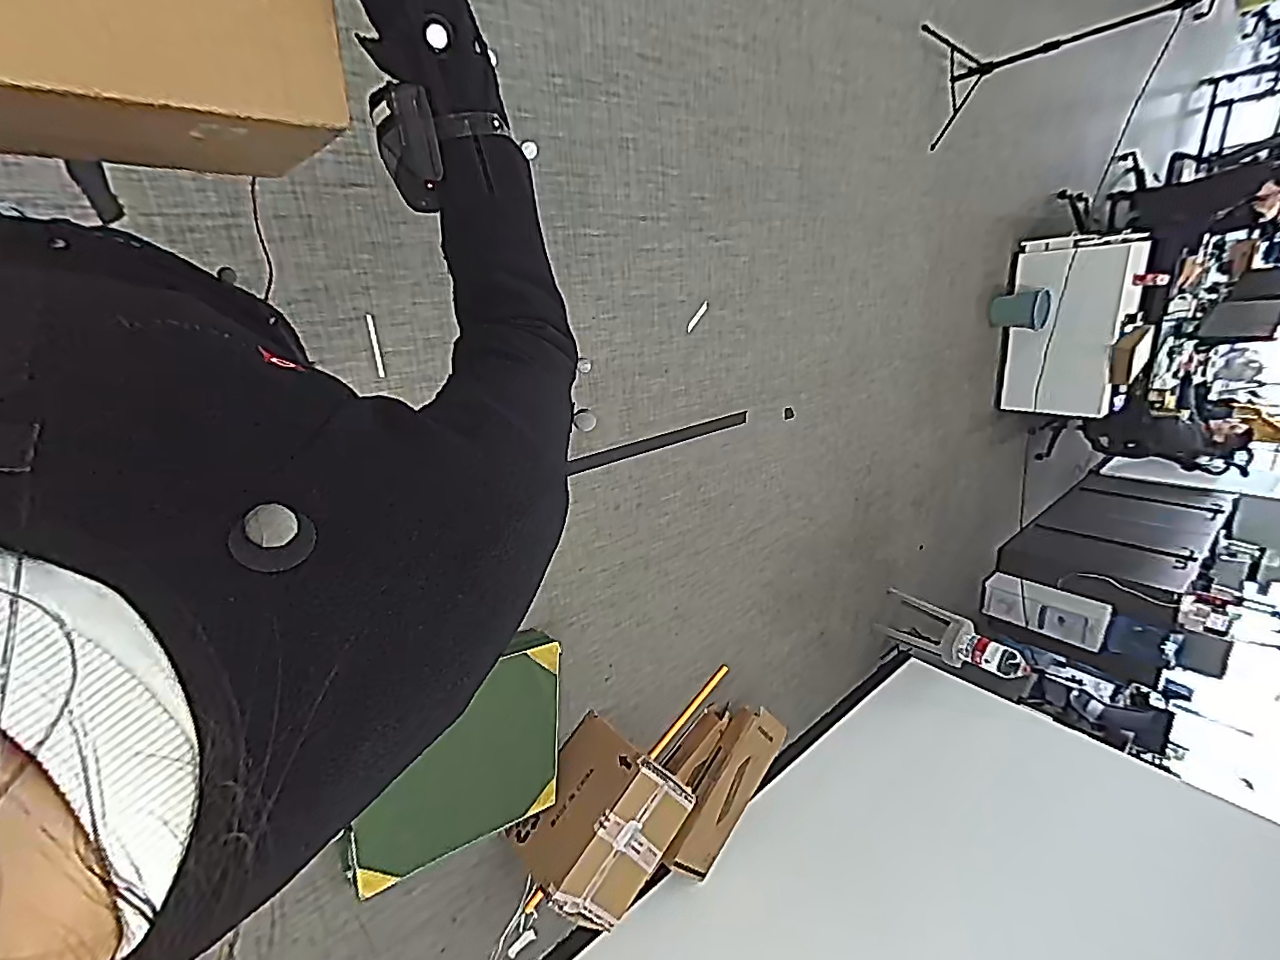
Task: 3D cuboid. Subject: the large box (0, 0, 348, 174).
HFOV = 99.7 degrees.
[{"bbox_3d":[-0.446,-0.374,0.301,0.408,0.320,0.320,-17,119,-36],"label":"large box"}]
